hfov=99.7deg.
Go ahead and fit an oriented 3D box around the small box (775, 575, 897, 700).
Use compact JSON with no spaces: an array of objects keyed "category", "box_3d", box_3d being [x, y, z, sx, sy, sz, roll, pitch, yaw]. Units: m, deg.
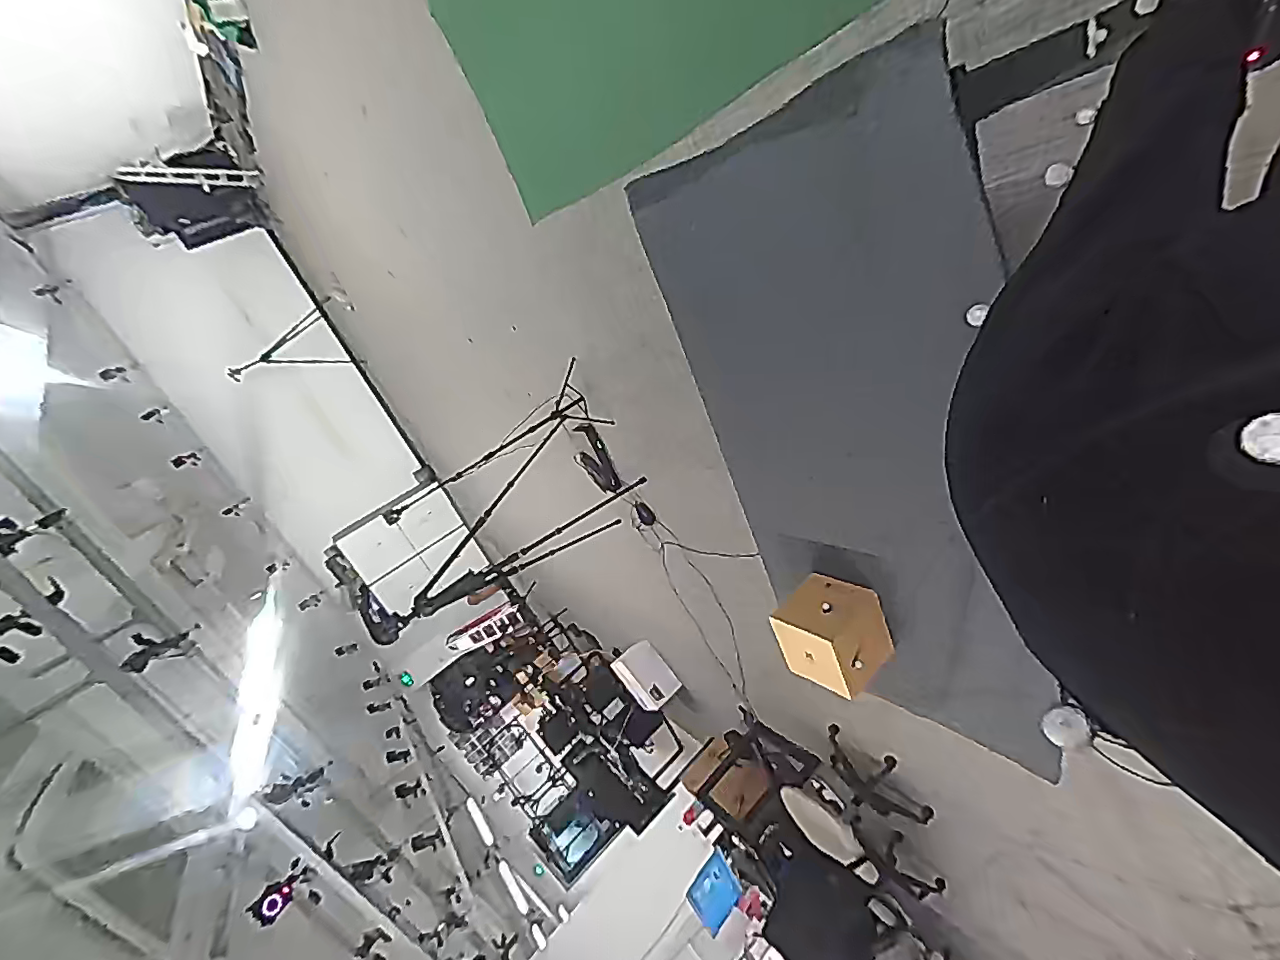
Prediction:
[{"category":"small box","box_3d":[0.433,0.335,1.189,0.168,0.176,0.179,9,131,56]}]
